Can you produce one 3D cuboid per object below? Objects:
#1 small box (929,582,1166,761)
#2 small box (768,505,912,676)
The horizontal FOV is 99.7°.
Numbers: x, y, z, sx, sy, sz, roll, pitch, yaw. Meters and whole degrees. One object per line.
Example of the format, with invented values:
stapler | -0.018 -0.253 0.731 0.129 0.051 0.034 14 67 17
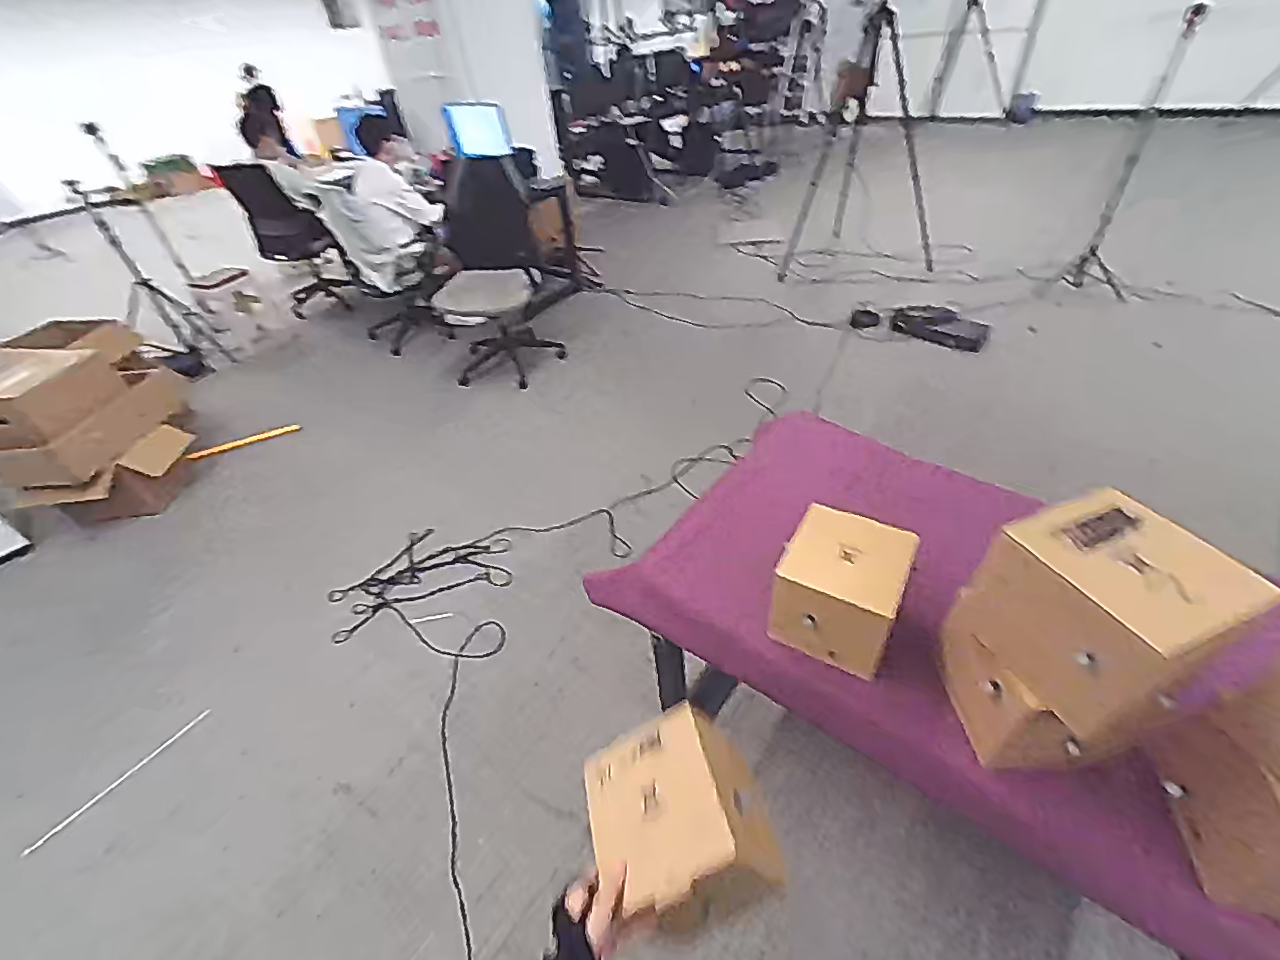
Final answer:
small box | 0.522 0.261 0.728 0.168 0.176 0.179 -3 40 3
small box | 0.311 0.175 0.861 0.168 0.176 0.179 18 45 26
